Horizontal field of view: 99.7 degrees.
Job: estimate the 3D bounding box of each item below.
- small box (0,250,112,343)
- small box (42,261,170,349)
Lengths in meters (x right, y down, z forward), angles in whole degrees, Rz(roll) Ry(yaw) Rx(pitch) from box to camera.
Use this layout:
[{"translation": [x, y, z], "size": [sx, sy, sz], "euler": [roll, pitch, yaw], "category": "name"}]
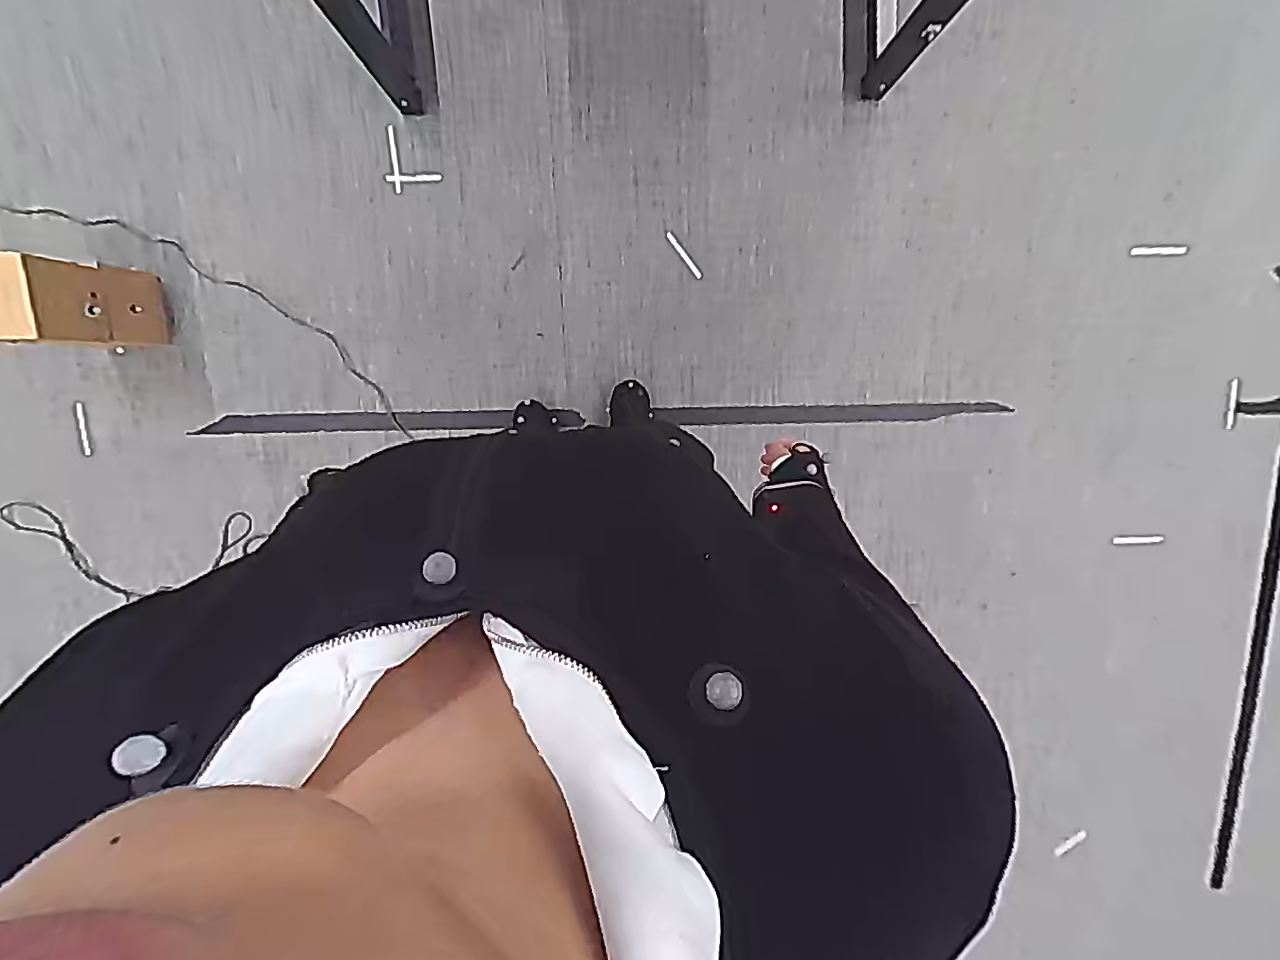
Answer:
[{"translation": [-1.277, -0.376, 1.129], "size": [0.179, 0.176, 0.168], "euler": [-1, 101, -3], "category": "small box"}, {"translation": [-1.281, -0.410, 1.288], "size": [0.168, 0.176, 0.179], "euler": [-3, 101, -2], "category": "small box"}]
